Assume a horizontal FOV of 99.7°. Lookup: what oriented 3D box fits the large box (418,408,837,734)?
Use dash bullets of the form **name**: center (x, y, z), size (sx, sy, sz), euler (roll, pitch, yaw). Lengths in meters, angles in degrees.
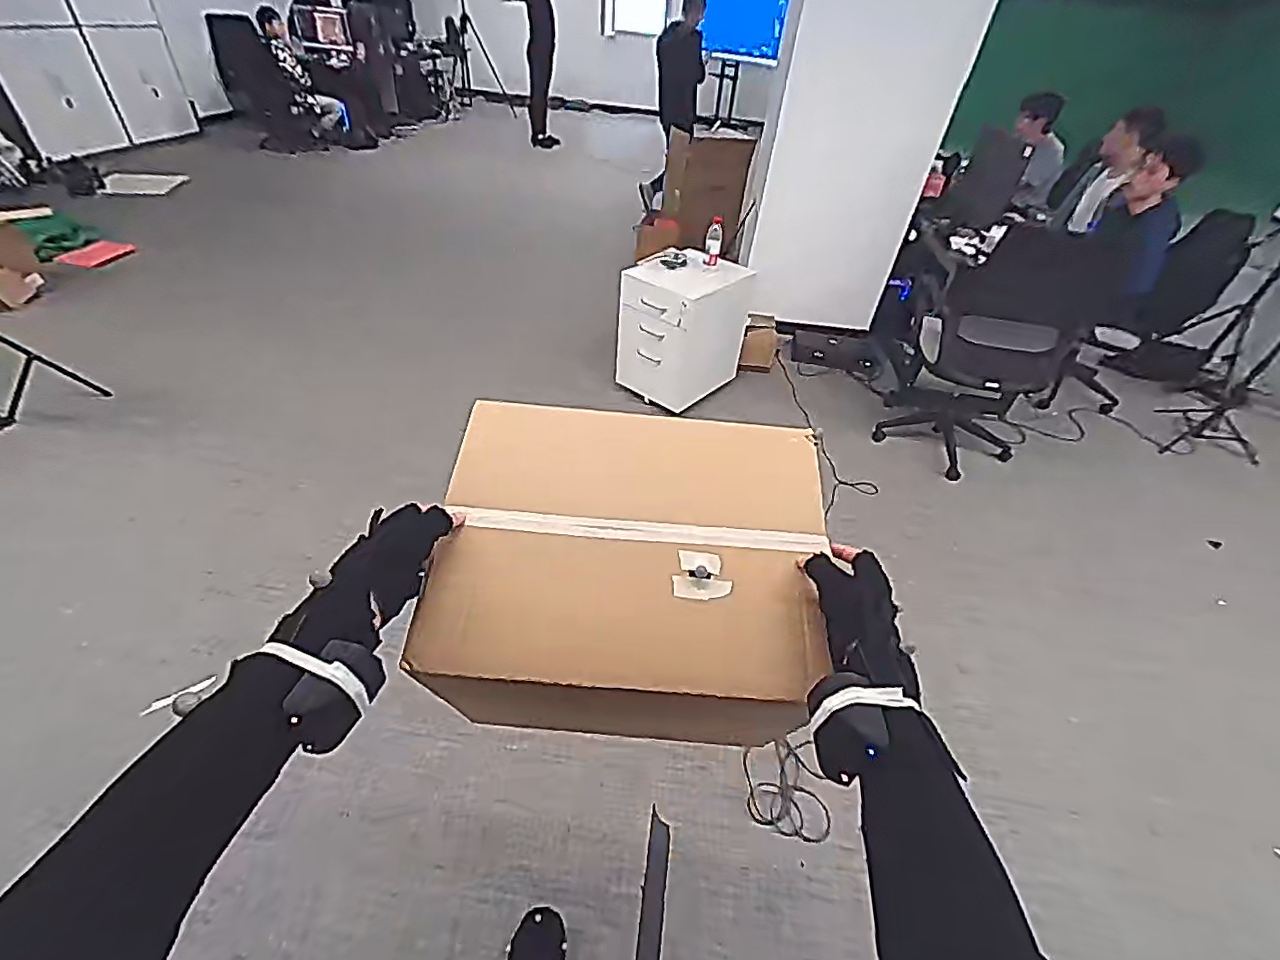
- **large box**: center (-0.014, 0.135, 0.707), size (0.408, 0.320, 0.320), euler (5, 58, -1)
